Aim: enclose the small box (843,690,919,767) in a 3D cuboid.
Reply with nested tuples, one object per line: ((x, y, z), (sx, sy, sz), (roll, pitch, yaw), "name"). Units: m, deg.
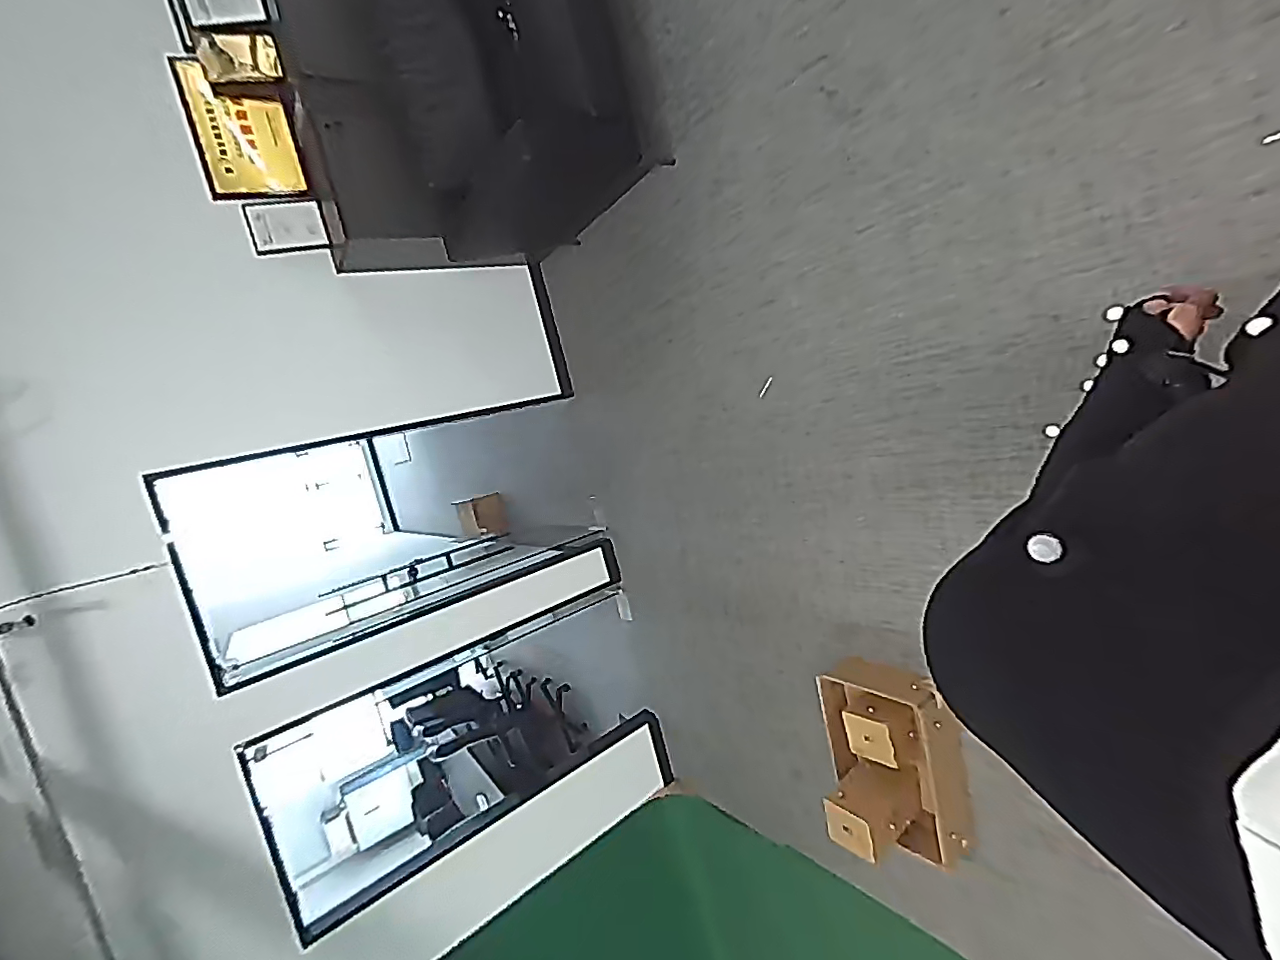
((0.863, 0.877, 1.932), (0.179, 0.176, 0.168), (-7, 99, 54), "small box")

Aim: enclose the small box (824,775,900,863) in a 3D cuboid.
((0.775, 1.170, 1.887), (0.179, 0.176, 0.168), (0, 104, 54), "small box")
